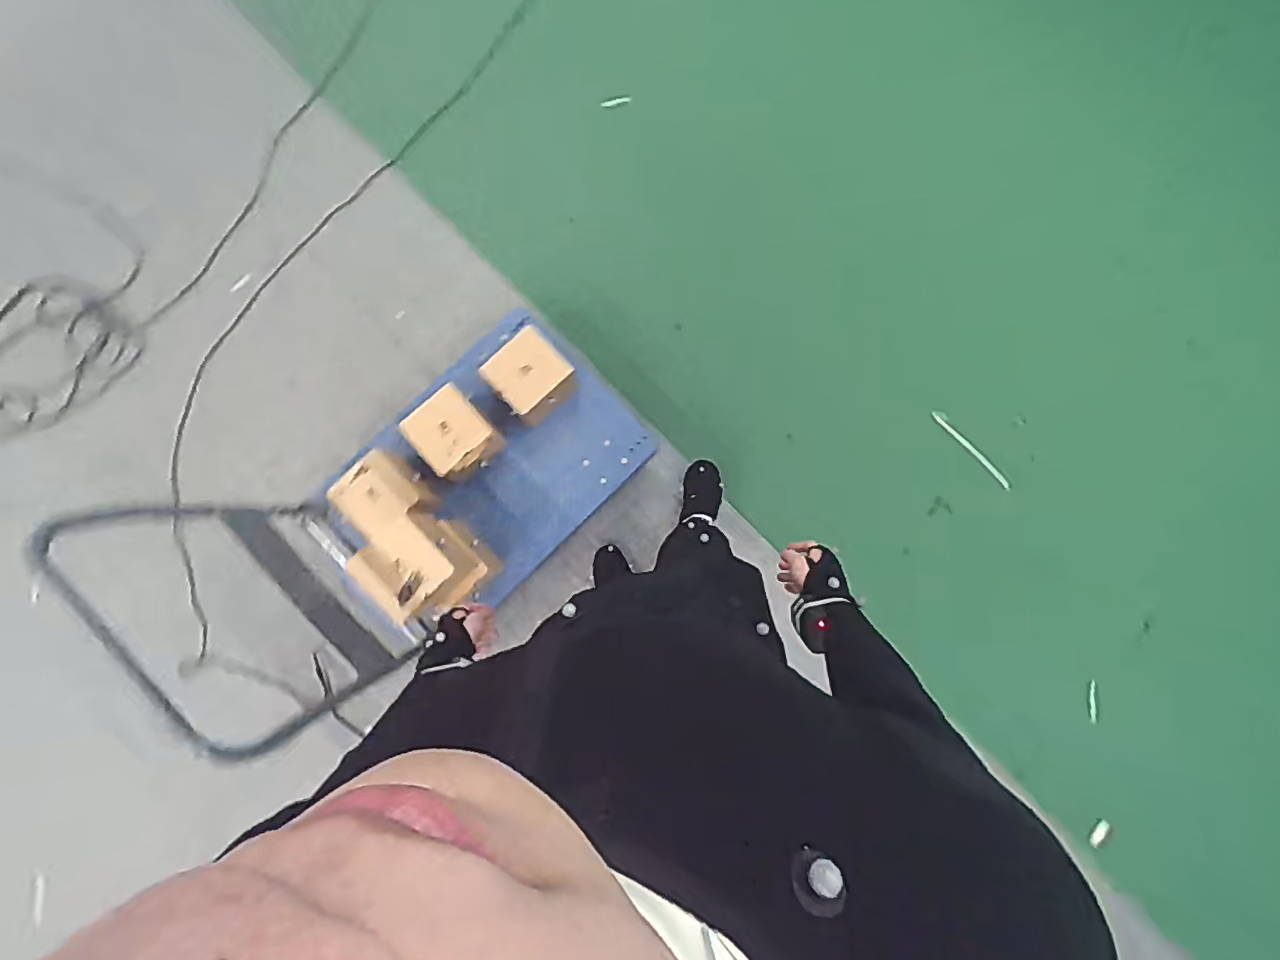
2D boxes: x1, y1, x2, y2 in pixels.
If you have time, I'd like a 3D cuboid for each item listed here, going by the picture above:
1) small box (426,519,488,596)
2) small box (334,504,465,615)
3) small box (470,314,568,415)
[{"bbox_3d":[-0.509,0.199,1.376,0.179,0.176,0.168,-14,87,-1],"label":"small box"},{"bbox_3d":[-0.522,0.170,1.205,0.168,0.176,0.179,-45,87,-5],"label":"small box"},{"bbox_3d":[-0.305,-0.292,1.412,0.179,0.176,0.168,-43,88,-4],"label":"small box"}]
